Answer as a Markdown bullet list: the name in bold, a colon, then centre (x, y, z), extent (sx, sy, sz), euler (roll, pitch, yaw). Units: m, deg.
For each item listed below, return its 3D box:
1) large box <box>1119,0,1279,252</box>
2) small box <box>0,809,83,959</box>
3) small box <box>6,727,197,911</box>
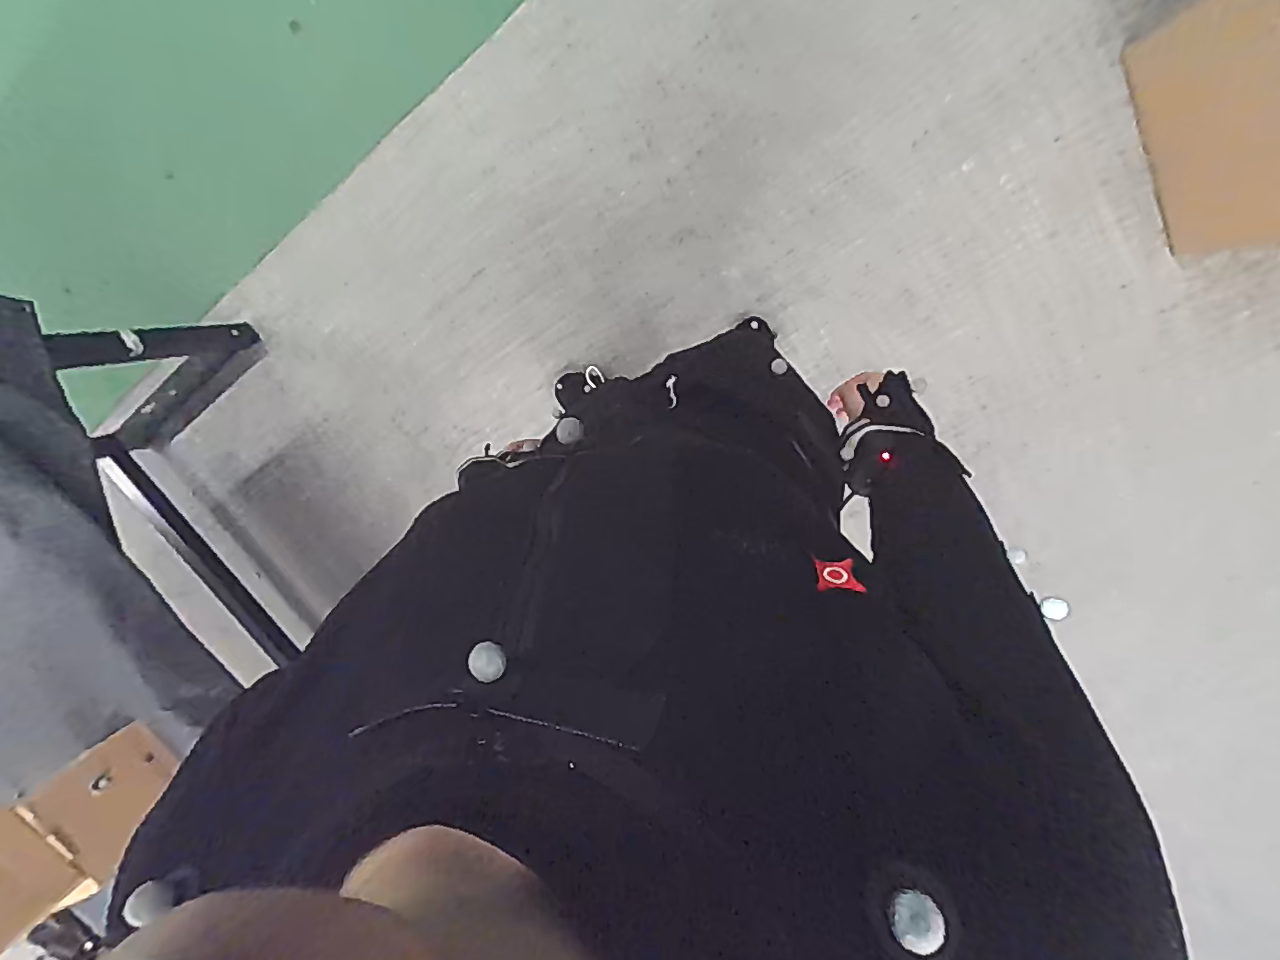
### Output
- **large box**: centre (1.070, -0.630, 0.847), extent (0.320, 0.320, 0.408), euler (-25, 104, 17)
- **small box**: centre (-0.893, 0.564, 0.692), extent (0.168, 0.176, 0.179), euler (-38, 98, 19)
- **small box**: centre (-0.855, 0.524, 0.846), extent (0.179, 0.176, 0.168), euler (-30, 100, 19)
